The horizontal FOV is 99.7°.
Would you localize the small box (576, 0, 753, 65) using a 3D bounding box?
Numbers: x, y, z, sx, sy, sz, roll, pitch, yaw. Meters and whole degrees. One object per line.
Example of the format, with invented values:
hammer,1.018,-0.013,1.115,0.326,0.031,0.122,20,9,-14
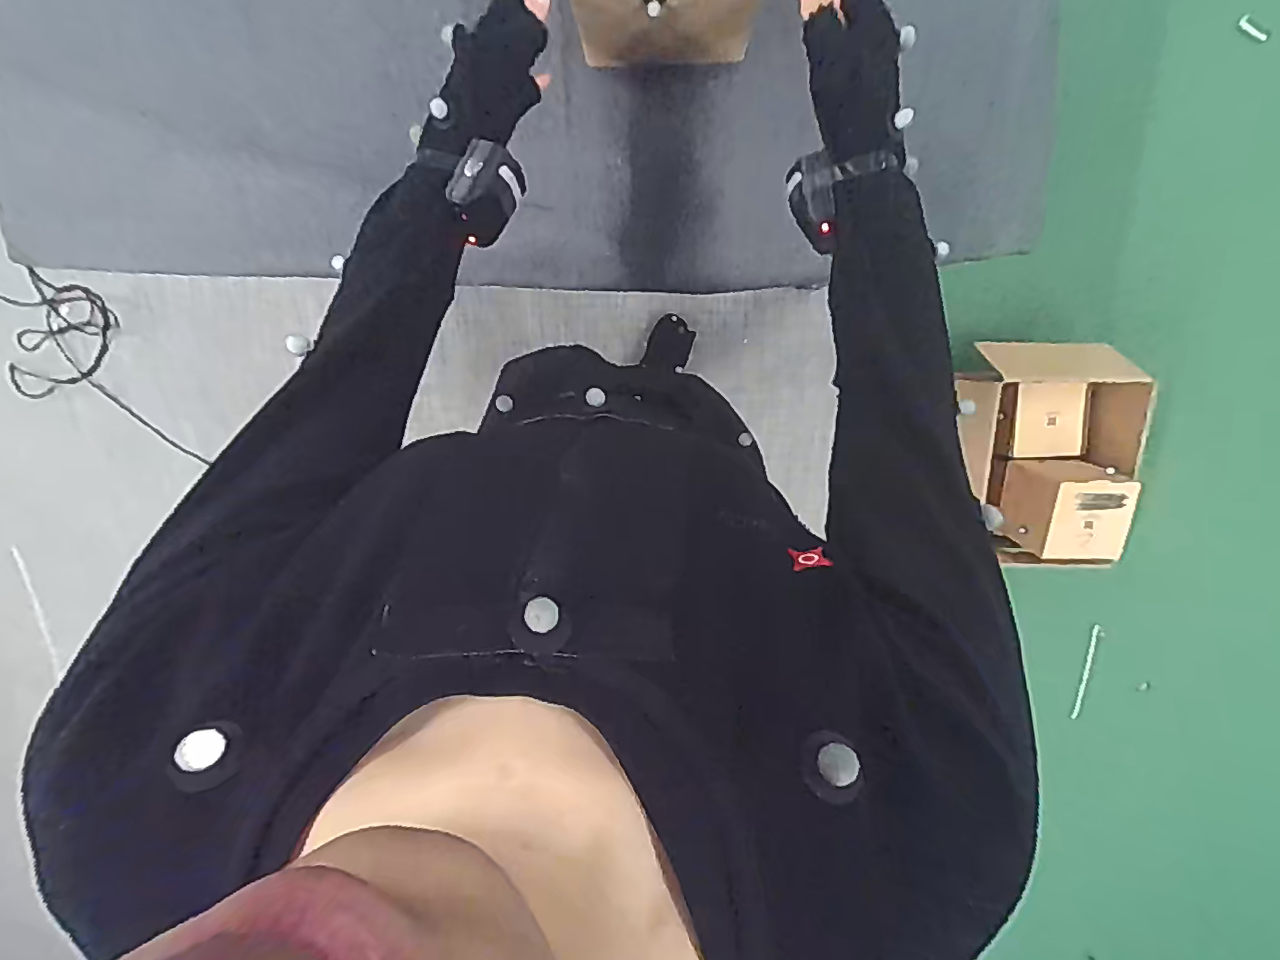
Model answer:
small box,0.023,-0.523,0.509,0.179,0.176,0.168,-1,105,2
